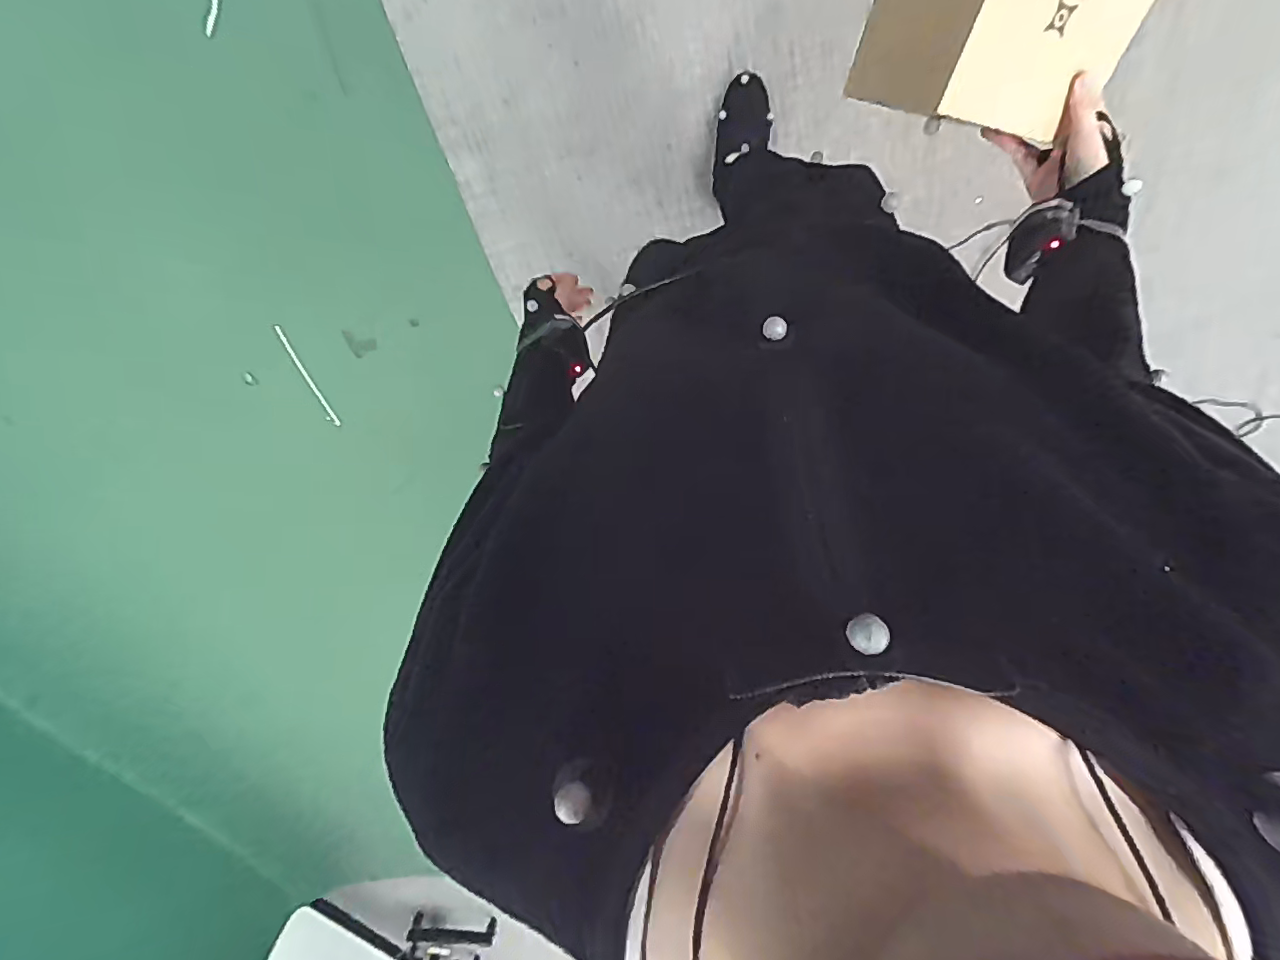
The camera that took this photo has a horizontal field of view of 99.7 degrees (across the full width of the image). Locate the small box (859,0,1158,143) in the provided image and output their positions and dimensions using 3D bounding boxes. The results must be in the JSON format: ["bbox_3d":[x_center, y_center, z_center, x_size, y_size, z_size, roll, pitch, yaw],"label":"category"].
[{"bbox_3d":[0.338,-0.443,0.508,0.168,0.176,0.179,1,127,-17],"label":"small box"}]

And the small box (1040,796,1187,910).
[{"bbox_3d":[1.057,0.844,1.229,0.168,0.176,0.179,-3,124,7],"label":"small box"}]
